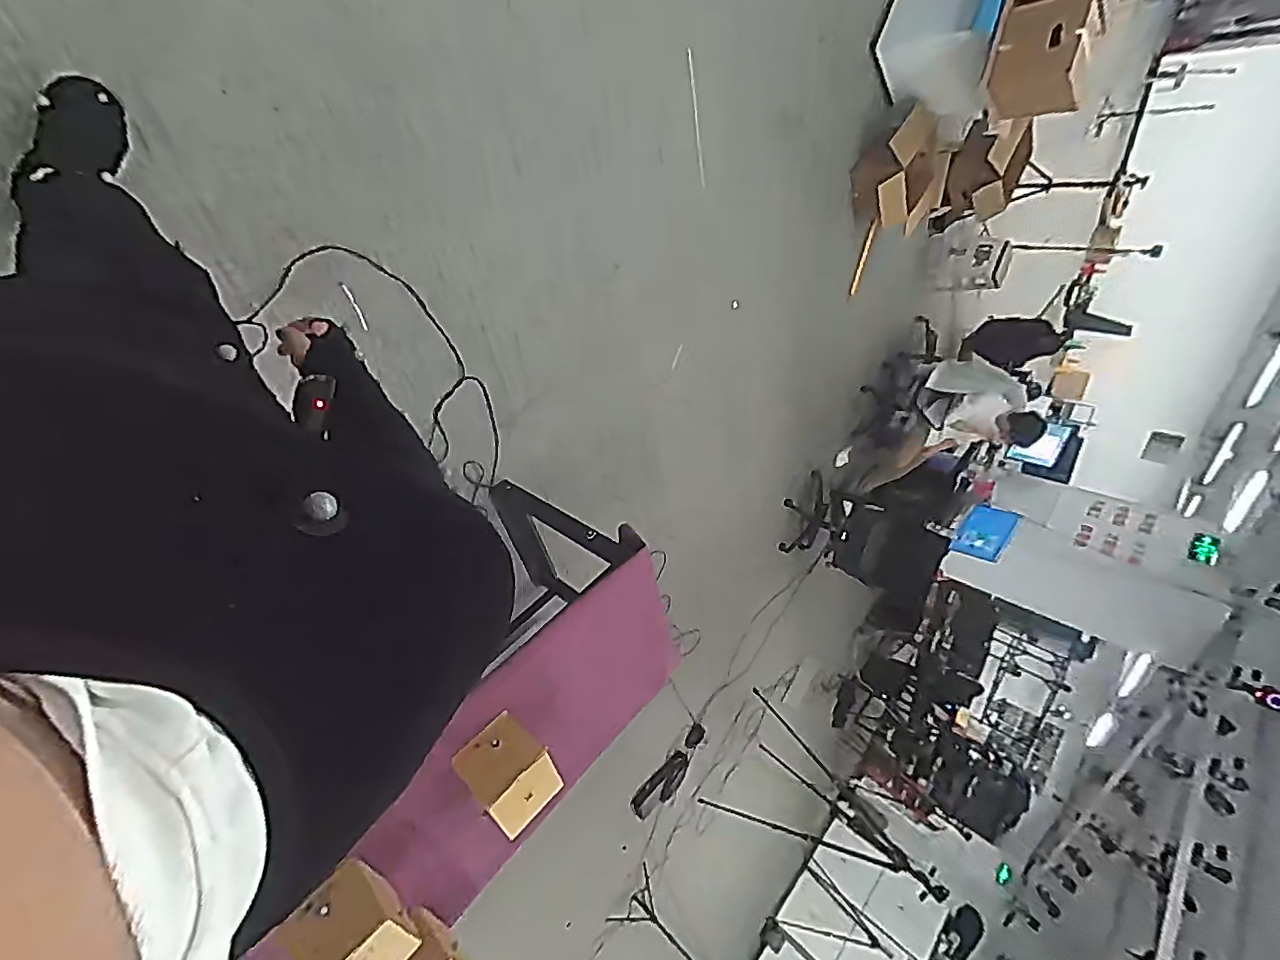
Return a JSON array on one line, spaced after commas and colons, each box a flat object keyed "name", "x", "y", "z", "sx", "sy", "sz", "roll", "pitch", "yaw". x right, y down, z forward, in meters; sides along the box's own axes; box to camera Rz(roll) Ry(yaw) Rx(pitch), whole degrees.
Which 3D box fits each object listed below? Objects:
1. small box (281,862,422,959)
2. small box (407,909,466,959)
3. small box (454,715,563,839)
[{"name": "small box", "x": -0.586, "y": 0.933, "z": 1.104, "sx": 0.168, "sy": 0.176, "sz": 0.179, "roll": -39, "pitch": 135, "yaw": -32}, {"name": "small box", "x": -0.527, "y": 1.185, "z": 1.295, "sx": 0.168, "sy": 0.176, "sz": 0.179, "roll": -40, "pitch": 133, "yaw": -31}, {"name": "small box", "x": -0.316, "y": 0.708, "z": 1.305, "sx": 0.168, "sy": 0.176, "sz": 0.179, "roll": -38, "pitch": 134, "yaw": -30}]
